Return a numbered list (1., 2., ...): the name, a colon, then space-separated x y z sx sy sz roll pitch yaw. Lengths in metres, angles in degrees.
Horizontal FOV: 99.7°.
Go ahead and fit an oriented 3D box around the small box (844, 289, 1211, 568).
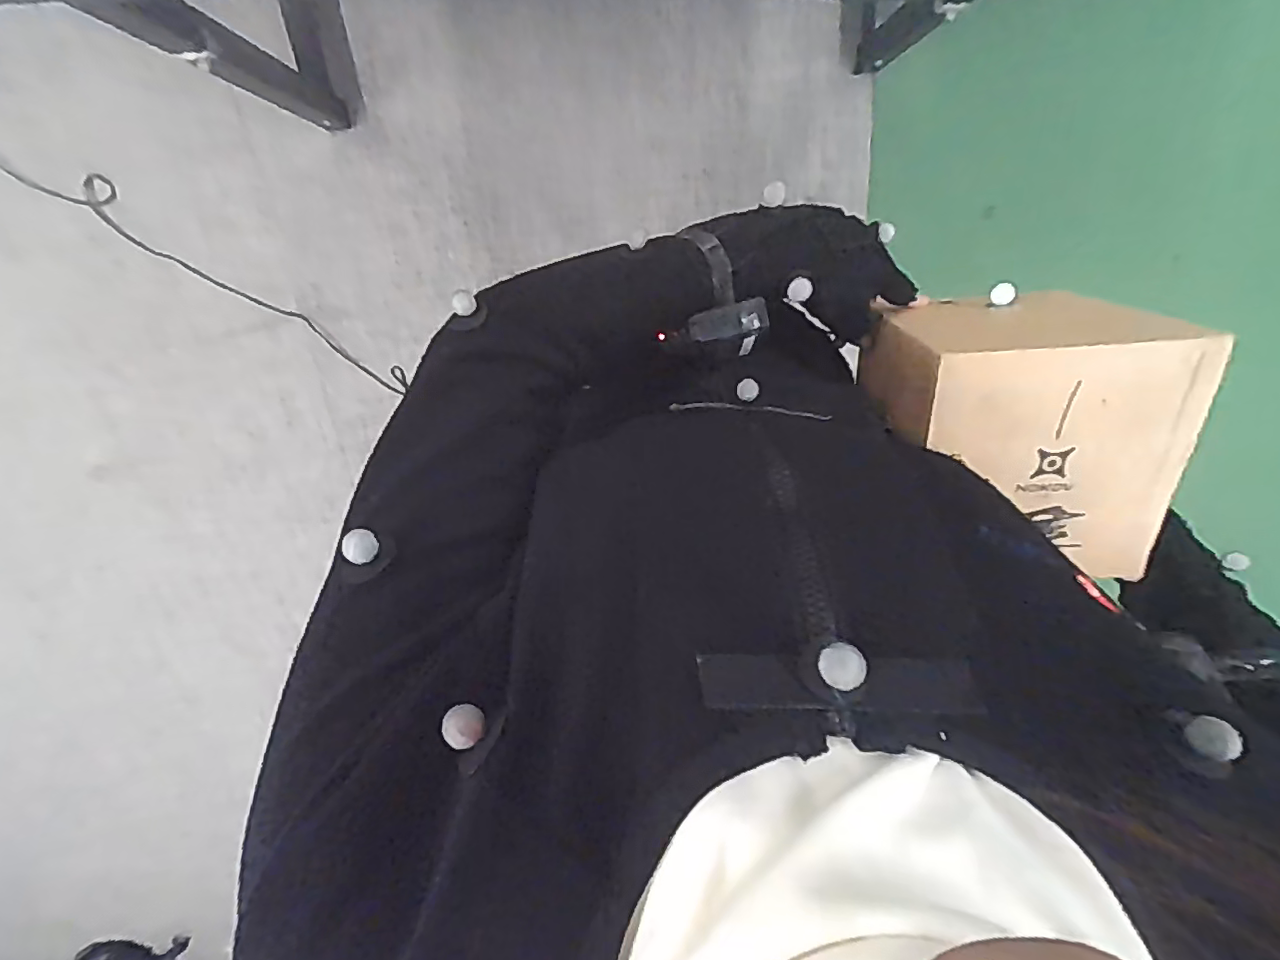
1. small box: 0.274 -0.048 0.441 0.168 0.176 0.179 -1 118 6
